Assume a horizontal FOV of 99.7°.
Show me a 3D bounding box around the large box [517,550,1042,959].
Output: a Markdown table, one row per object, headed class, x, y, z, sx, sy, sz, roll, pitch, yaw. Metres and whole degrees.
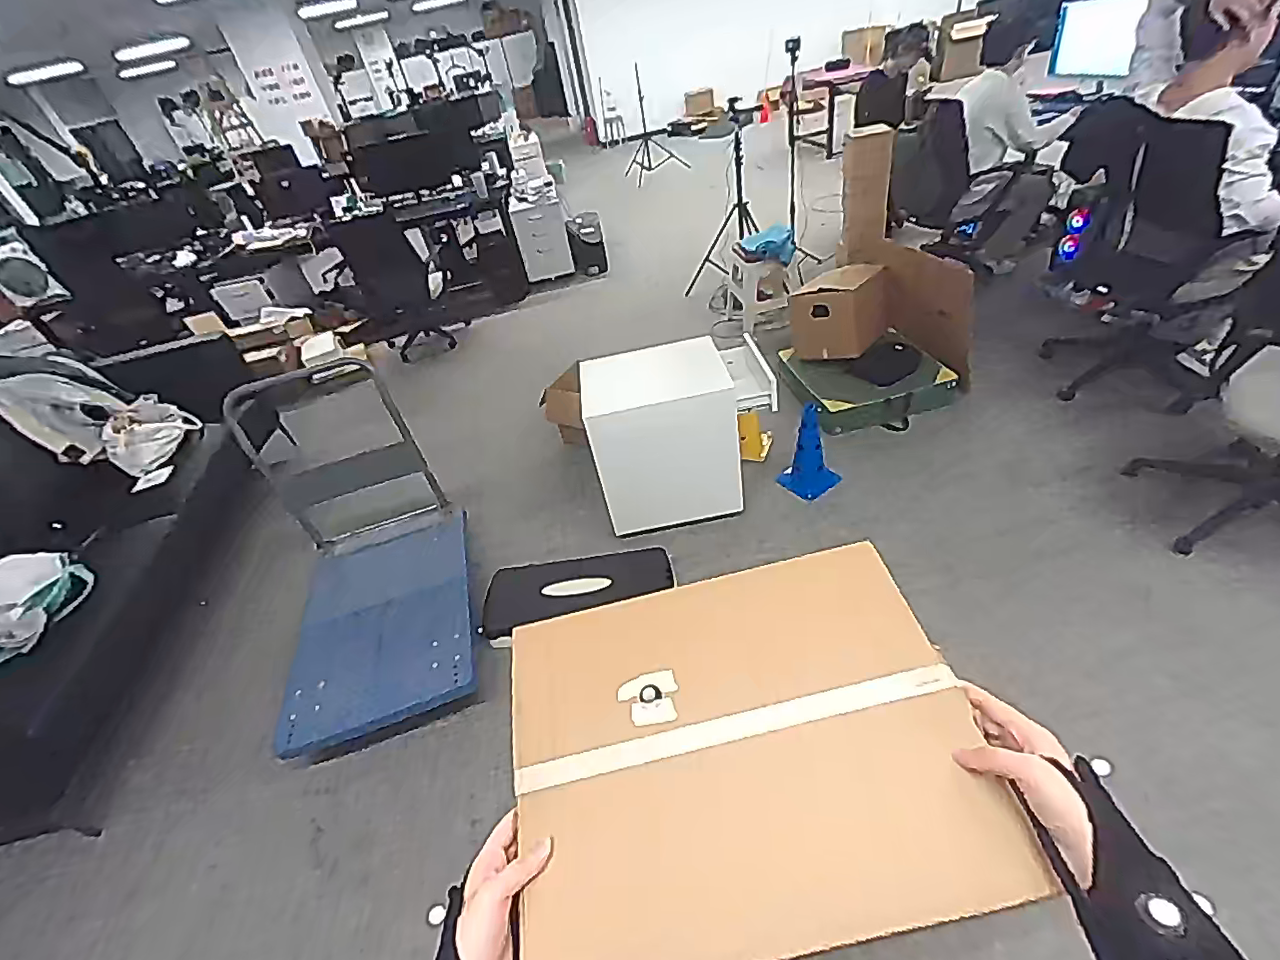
| class | x | y | z | sx | sy | sz | roll | pitch | yaw |
| --- | --- | --- | --- | --- | --- | --- | --- | --- | --- |
| large box | 0.113 | 0.333 | 0.611 | 0.408 | 0.320 | 0.320 | -16 | 48 | 2 |
